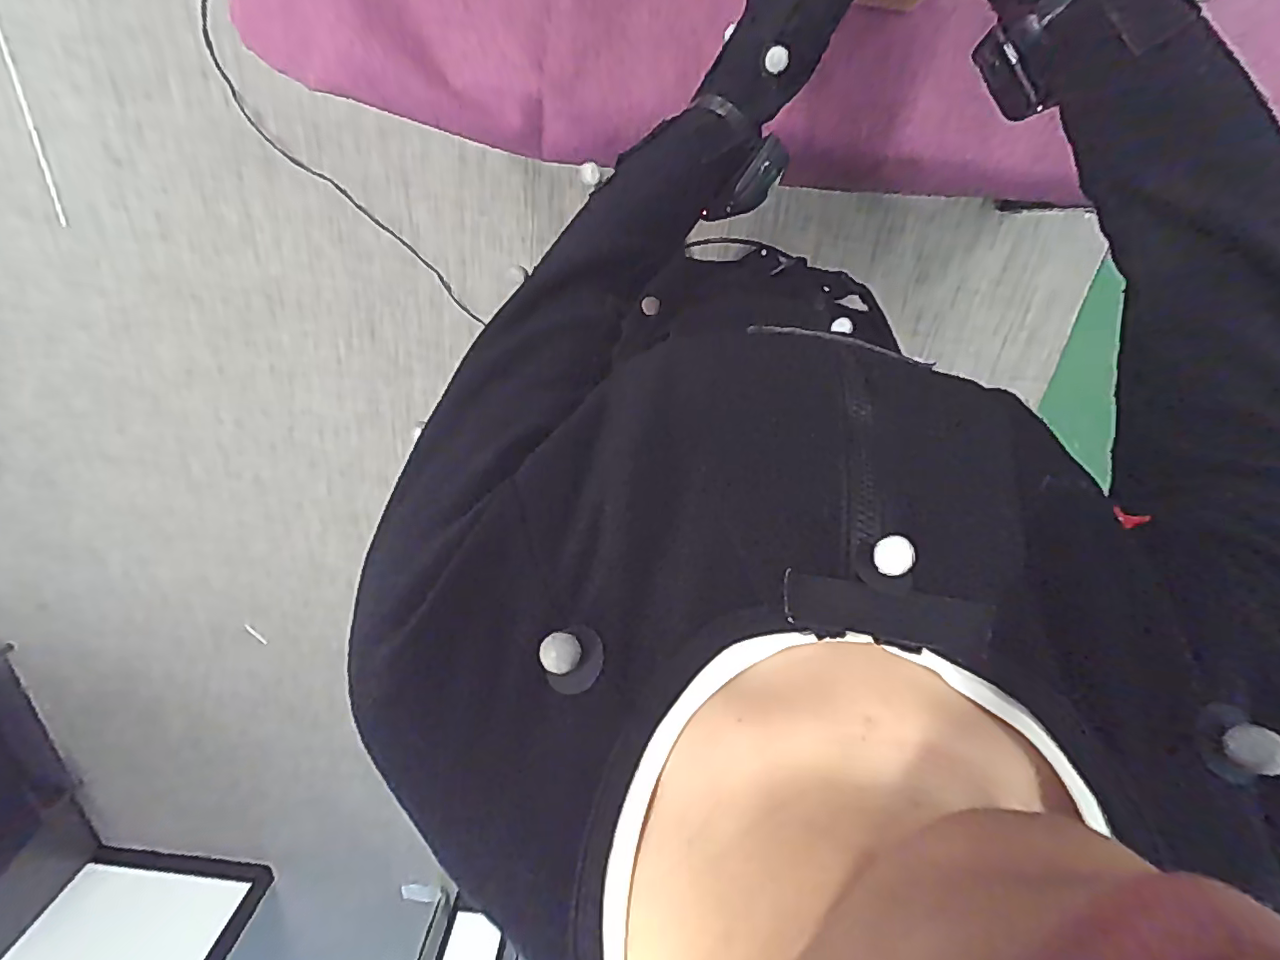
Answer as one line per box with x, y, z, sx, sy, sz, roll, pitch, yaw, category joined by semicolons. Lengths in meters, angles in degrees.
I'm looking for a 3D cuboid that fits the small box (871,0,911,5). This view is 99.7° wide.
0.187;-0.505;0.411;0.168;0.176;0.179;8;115;0;small box
